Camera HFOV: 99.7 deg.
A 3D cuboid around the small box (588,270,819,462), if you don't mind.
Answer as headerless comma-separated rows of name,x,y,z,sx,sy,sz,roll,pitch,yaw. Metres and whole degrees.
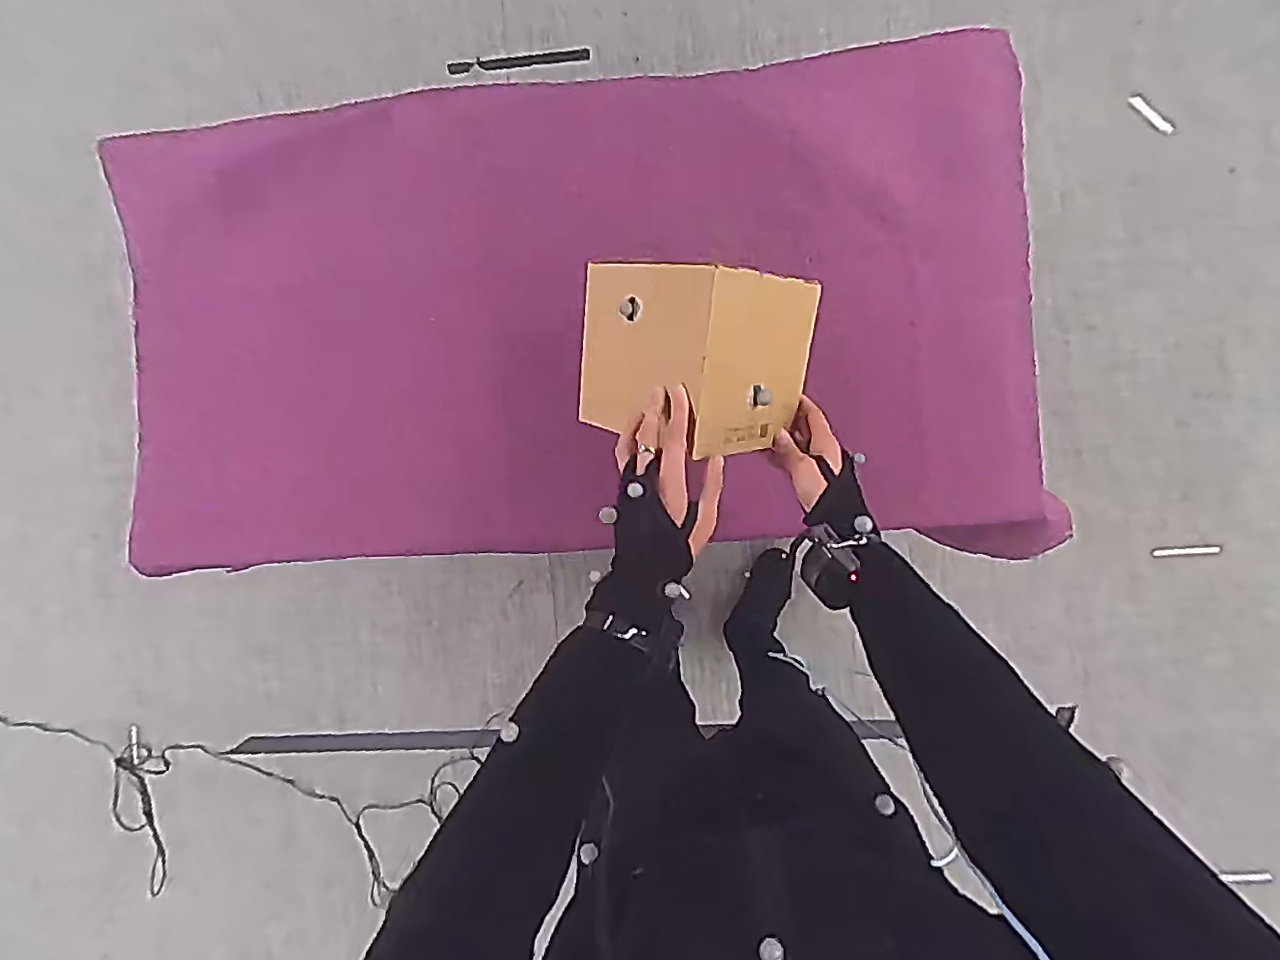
small box,0.058,-0.123,0.576,0.179,0.168,0.176,23,115,43
